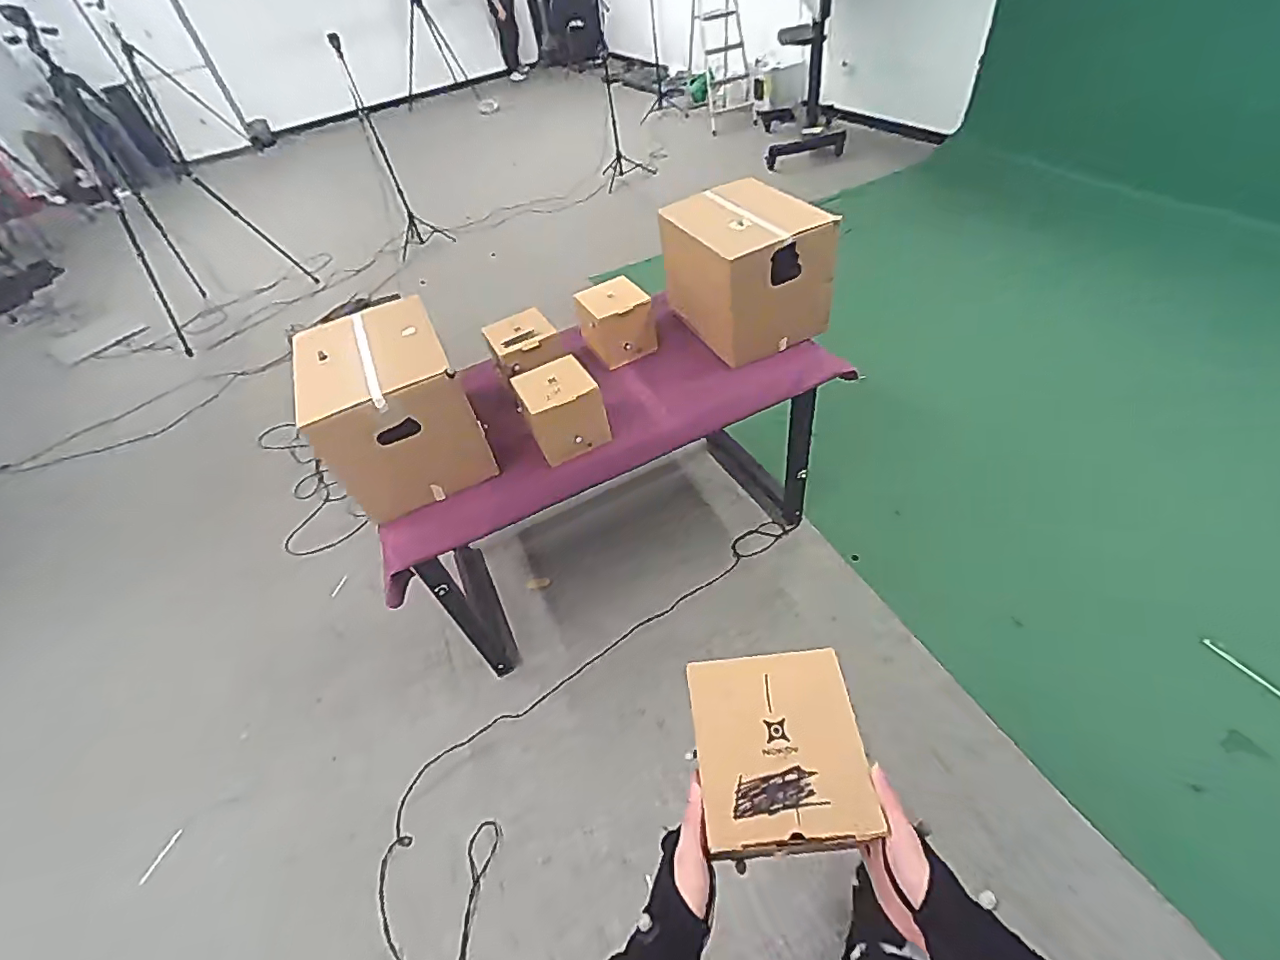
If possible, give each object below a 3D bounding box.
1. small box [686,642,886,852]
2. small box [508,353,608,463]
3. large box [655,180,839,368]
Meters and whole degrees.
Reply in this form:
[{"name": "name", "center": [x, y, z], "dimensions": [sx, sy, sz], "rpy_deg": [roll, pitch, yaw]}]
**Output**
[{"name": "small box", "center": [0.147, 0.304, 0.605], "dimensions": [0.168, 0.176, 0.179], "rpy_deg": [-7, 51, 2]}, {"name": "small box", "center": [-0.196, -0.172, 1.307], "dimensions": [0.168, 0.176, 0.179], "rpy_deg": [-26, 47, -13]}, {"name": "large box", "center": [0.280, -0.580, 1.504], "dimensions": [0.320, 0.320, 0.408], "rpy_deg": [-25, 49, -10]}]
